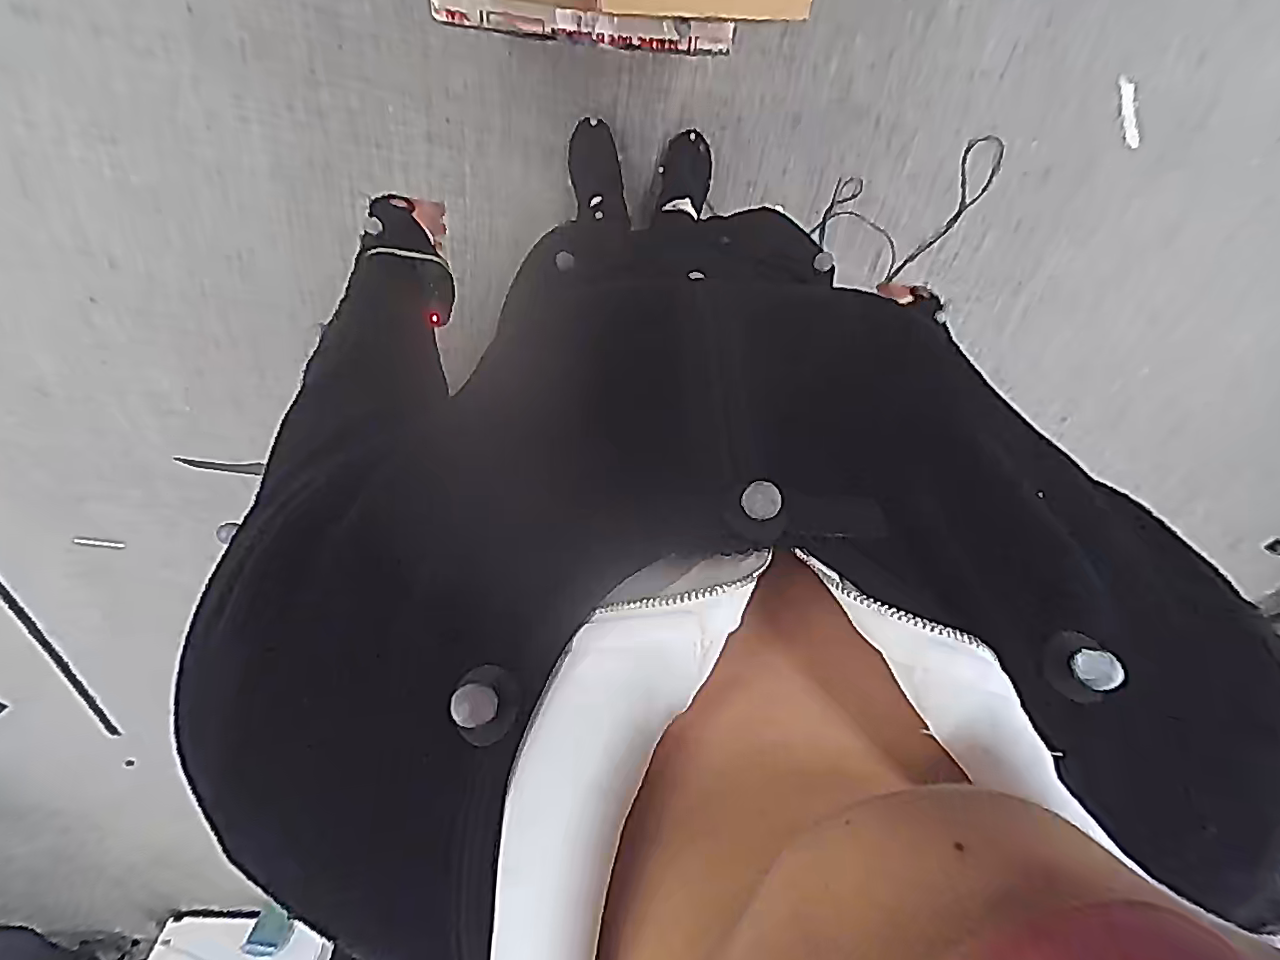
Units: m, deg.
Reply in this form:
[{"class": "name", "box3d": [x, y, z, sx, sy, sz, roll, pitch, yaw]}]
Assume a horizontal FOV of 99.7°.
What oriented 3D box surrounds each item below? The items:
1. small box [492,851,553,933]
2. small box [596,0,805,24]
[{"class": "small box", "box3d": [-0.364, 1.287, 1.689, 0.168, 0.176, 0.179, 7, 127, -6]}, {"class": "small box", "box3d": [0.051, -0.502, 0.462, 0.179, 0.176, 0.168, 0, 131, -3]}]
